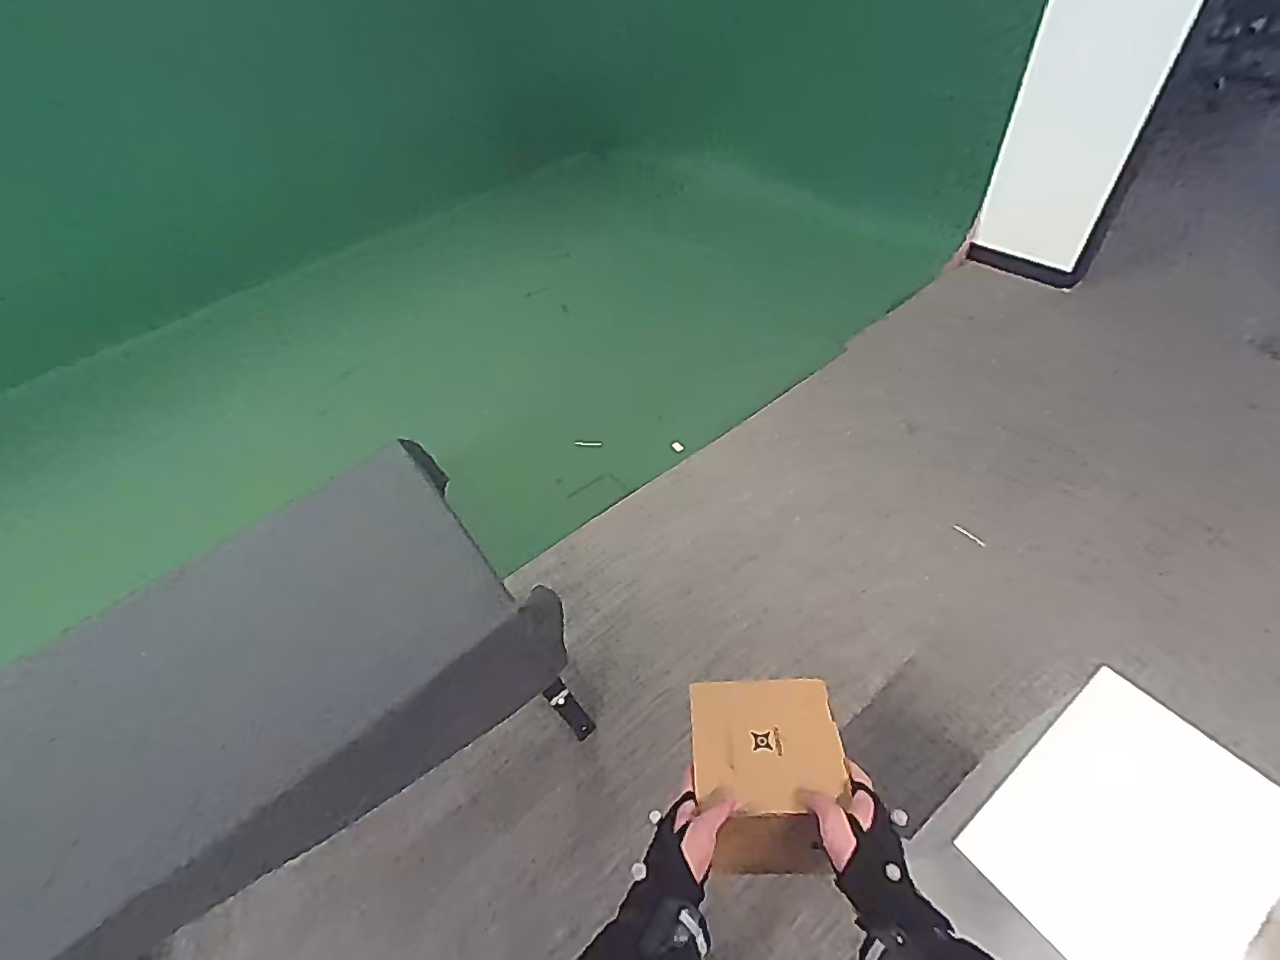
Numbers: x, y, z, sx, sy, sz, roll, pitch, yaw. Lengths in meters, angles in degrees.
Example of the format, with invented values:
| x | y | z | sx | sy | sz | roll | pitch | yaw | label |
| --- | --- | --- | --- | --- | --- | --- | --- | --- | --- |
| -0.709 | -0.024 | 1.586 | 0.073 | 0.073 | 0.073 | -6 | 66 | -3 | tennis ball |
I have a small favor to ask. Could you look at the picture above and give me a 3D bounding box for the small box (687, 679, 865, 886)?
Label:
| x | y | z | sx | sy | sz | roll | pitch | yaw | label |
| --- | --- | --- | --- | --- | --- | --- | --- | --- | --- |
| 0.153 | 0.372 | 0.668 | 0.179 | 0.176 | 0.168 | -5 | 33 | 3 | small box |
